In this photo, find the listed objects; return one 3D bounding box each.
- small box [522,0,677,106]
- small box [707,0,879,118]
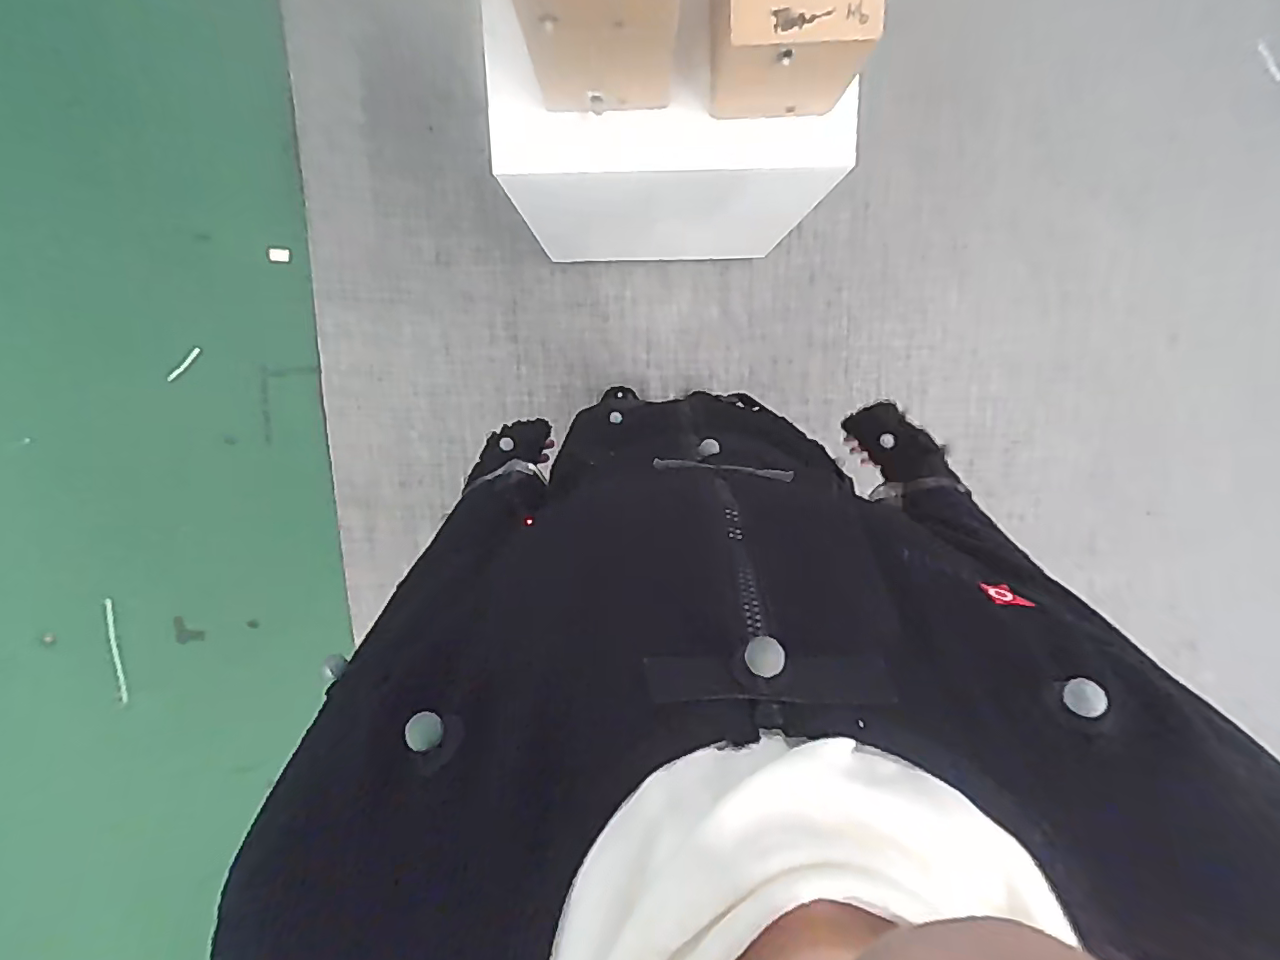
[{"bbox_3d":[-0.047,-0.579,0.635,0.168,0.176,0.179,-3,101,1],"label":"small box"},{"bbox_3d":[0.173,-0.574,0.650,0.168,0.176,0.179,-1,99,0],"label":"small box"}]
